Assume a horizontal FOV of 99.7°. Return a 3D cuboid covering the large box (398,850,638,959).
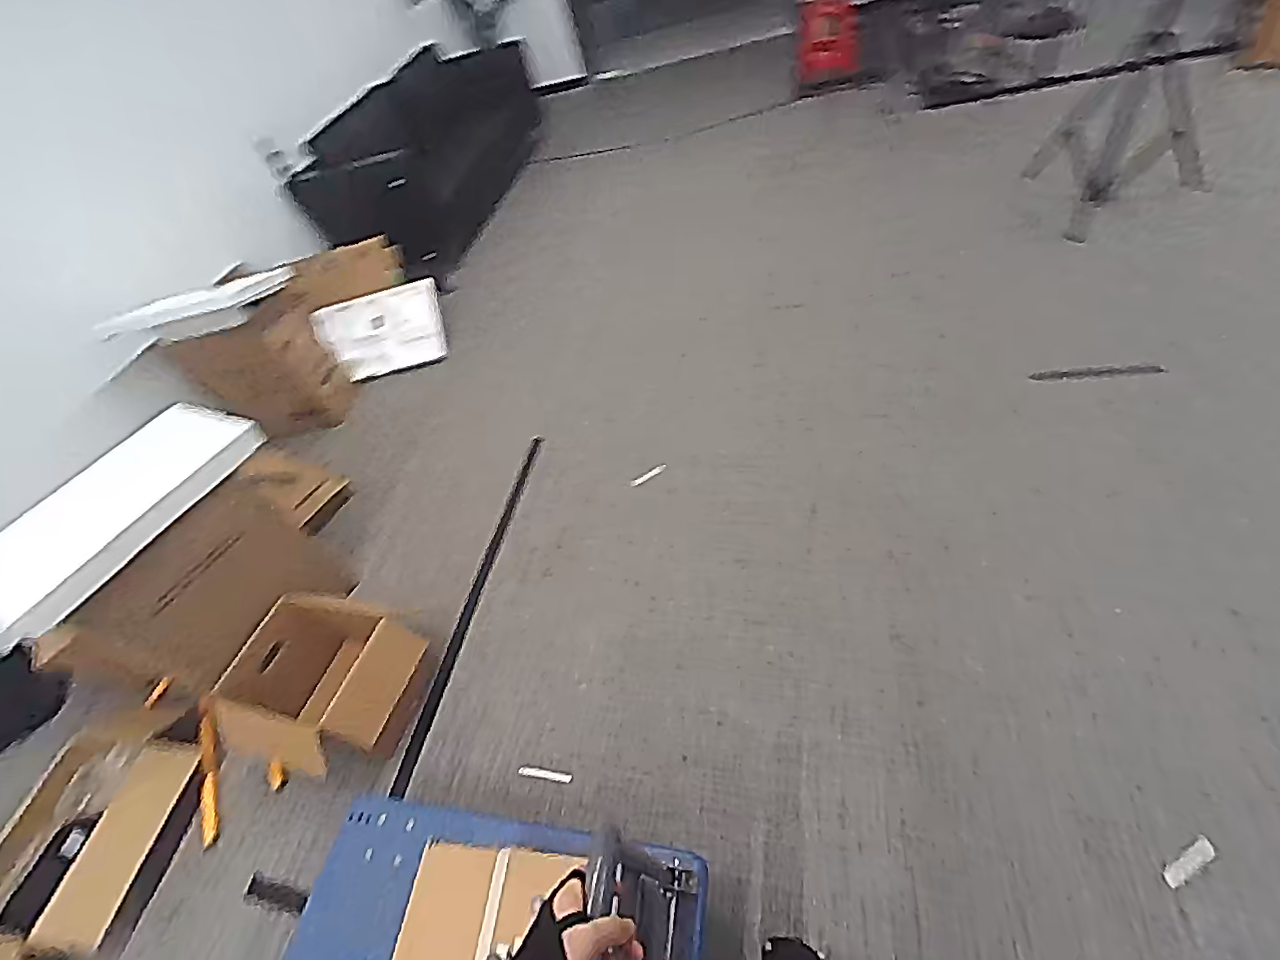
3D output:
[{"bbox_3d":[-0.199,0.874,0.878,0.320,0.320,0.408,-5,48,14],"label":"large box"}]
